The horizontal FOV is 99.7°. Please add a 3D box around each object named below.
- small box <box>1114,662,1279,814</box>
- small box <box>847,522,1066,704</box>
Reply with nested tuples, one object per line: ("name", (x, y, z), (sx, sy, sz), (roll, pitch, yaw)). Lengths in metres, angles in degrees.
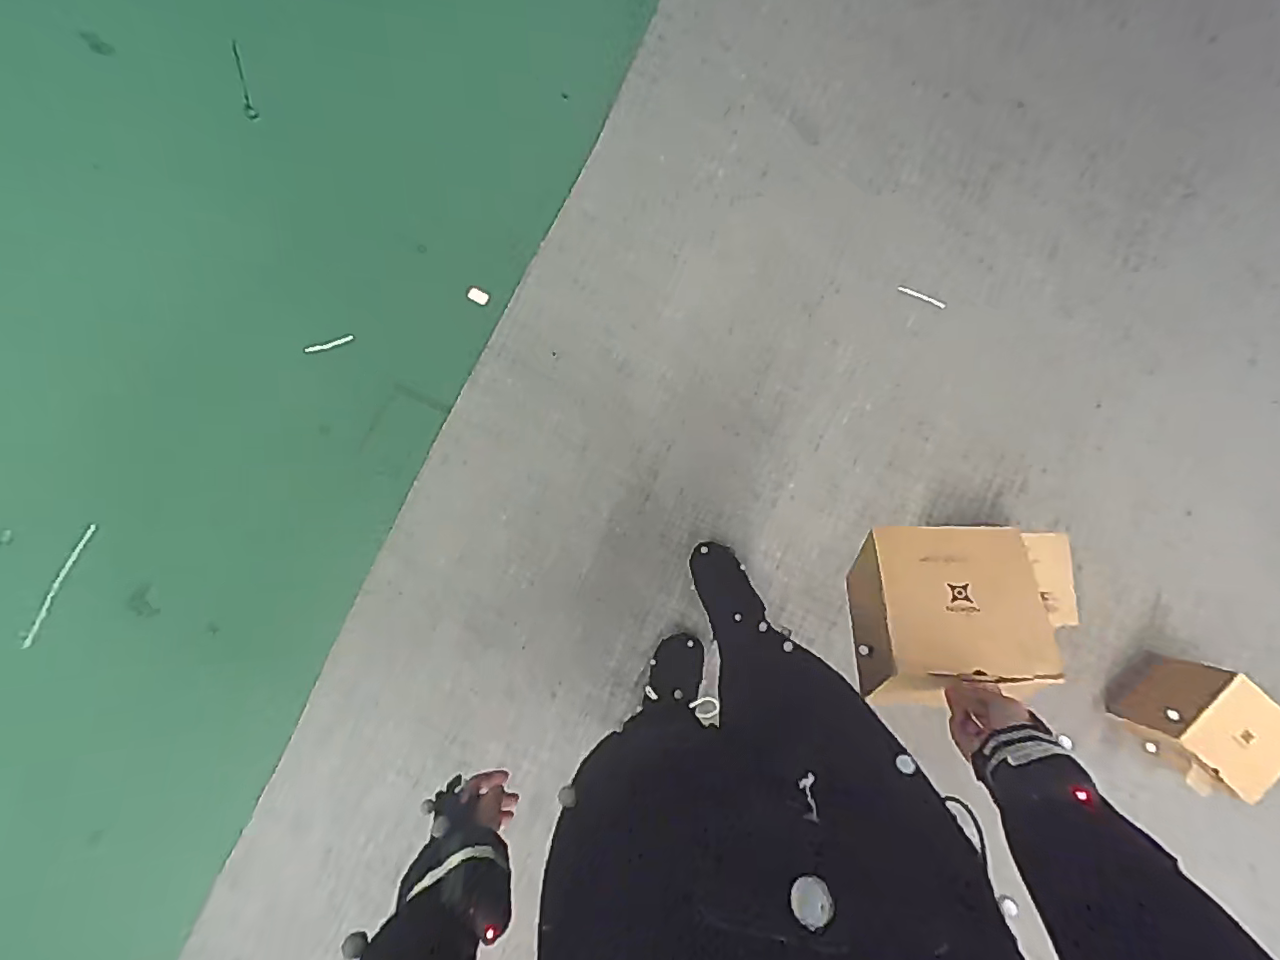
("small box", (1.095, 0.484, 1.049), (0.179, 0.176, 0.168), (-45, 84, -3))
("small box", (0.360, 0.166, 0.658), (0.168, 0.176, 0.179), (0, 57, 8))
